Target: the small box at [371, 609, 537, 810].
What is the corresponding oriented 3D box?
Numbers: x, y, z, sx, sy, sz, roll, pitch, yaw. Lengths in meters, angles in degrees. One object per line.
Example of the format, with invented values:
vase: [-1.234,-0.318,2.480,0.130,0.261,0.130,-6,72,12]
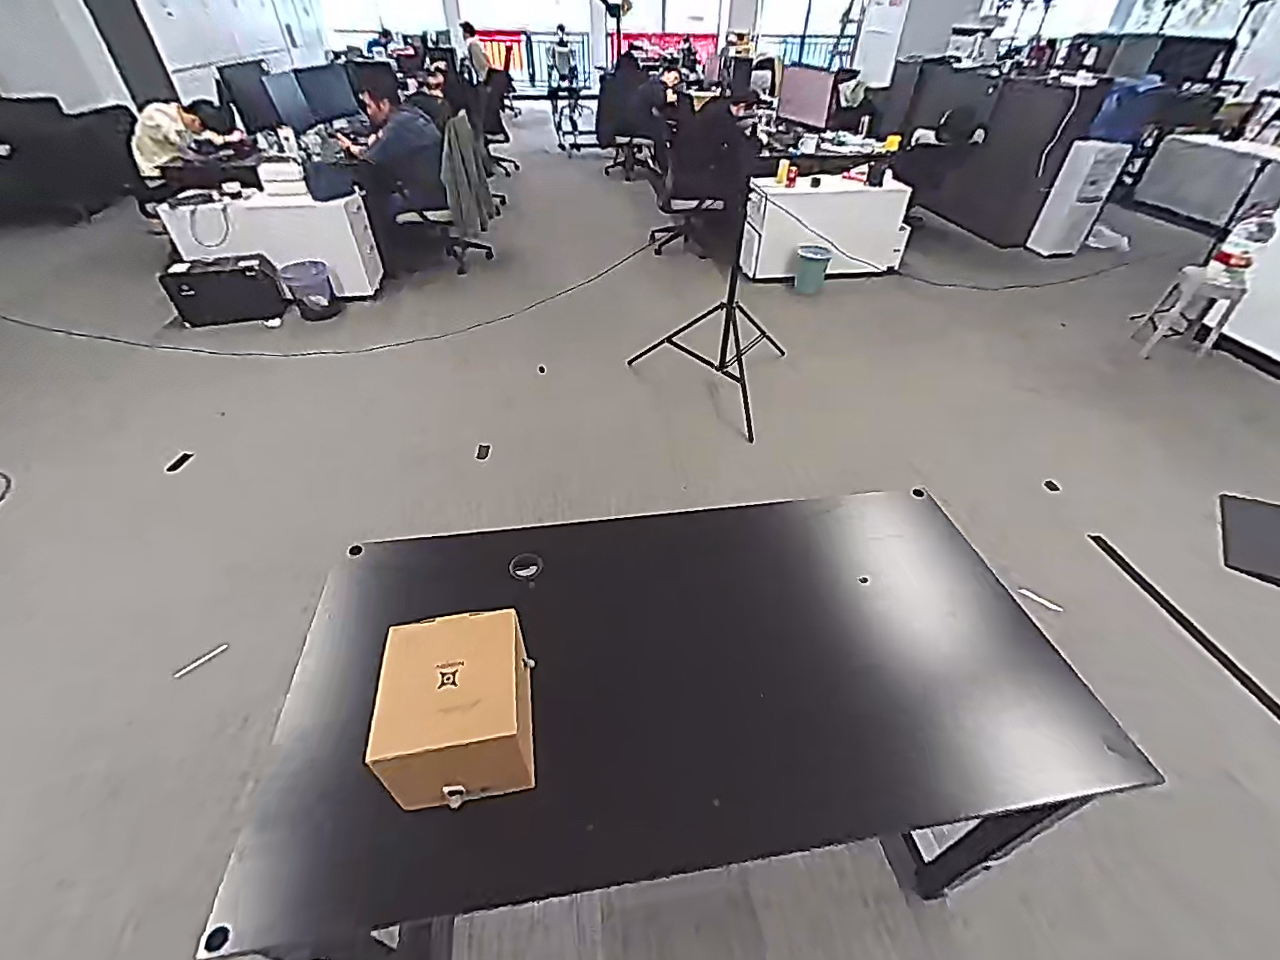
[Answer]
small box: [-0.232,0.302,0.718,0.168,0.176,0.179,-8,42,-8]
